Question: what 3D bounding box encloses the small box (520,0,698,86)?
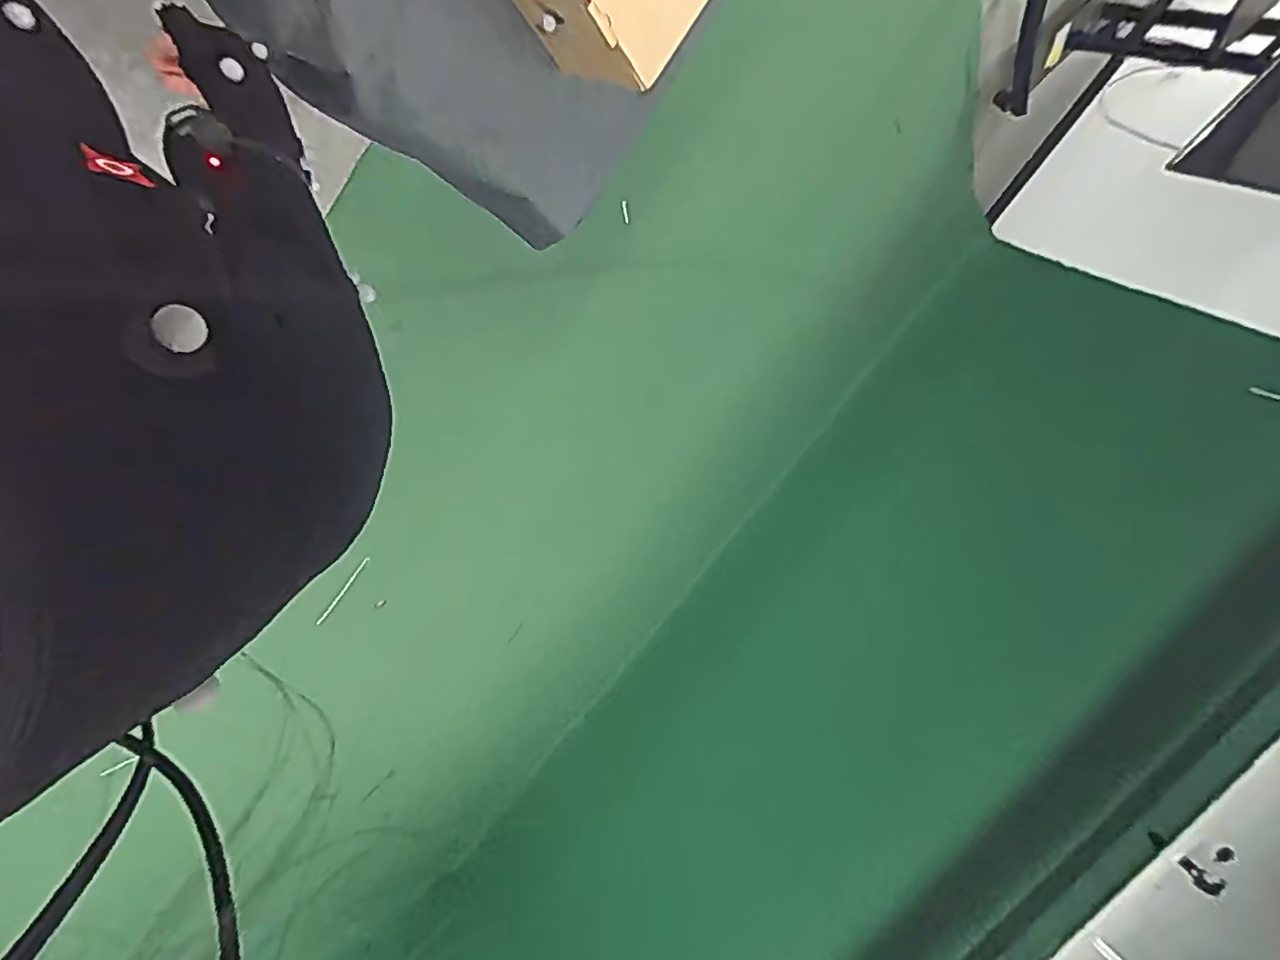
[{"bbox_3d":[-0.043,-0.566,0.561,0.179,0.176,0.168,-53,149,8],"label":"small box"}]
